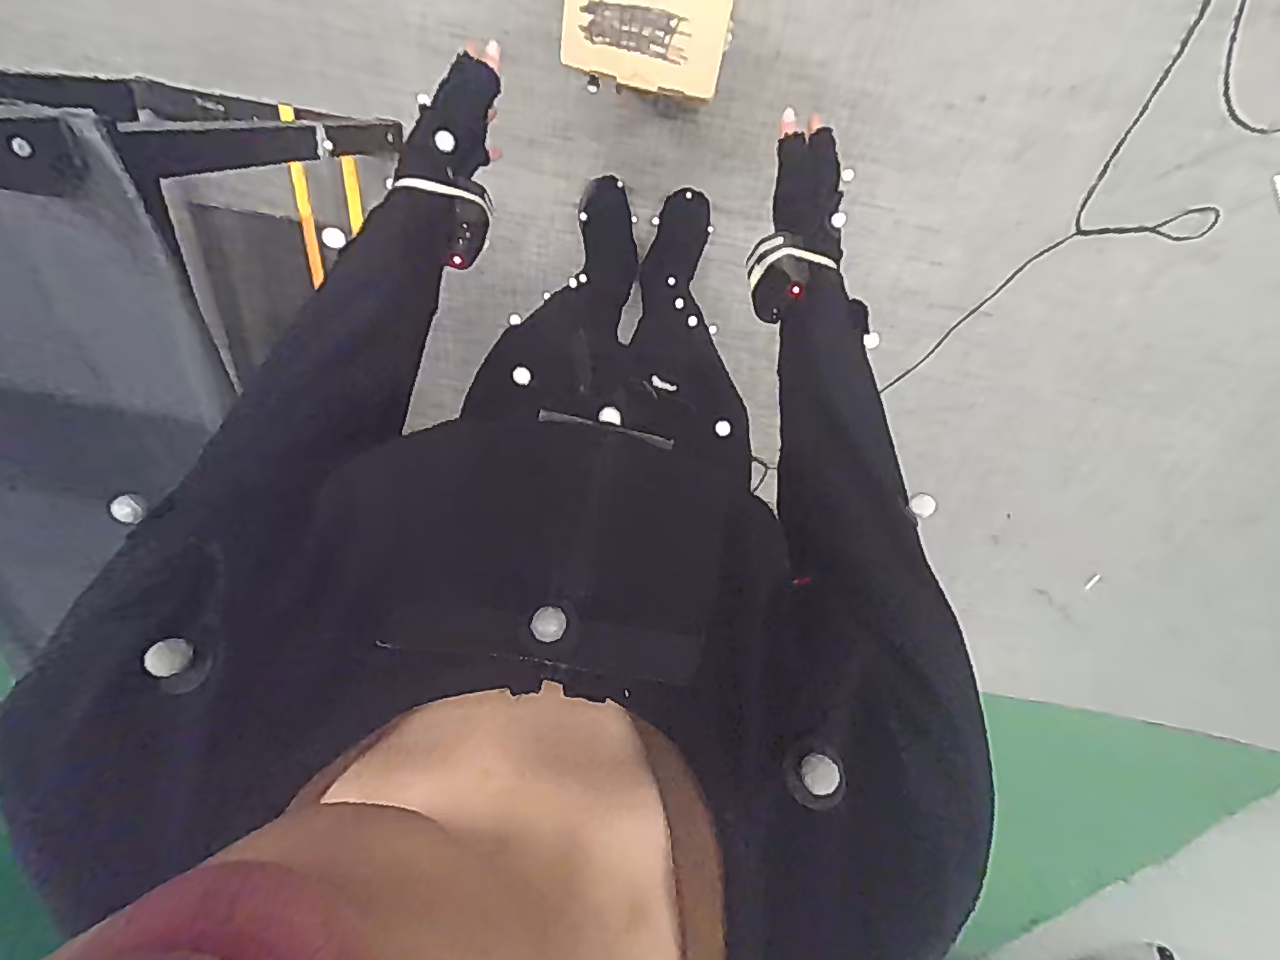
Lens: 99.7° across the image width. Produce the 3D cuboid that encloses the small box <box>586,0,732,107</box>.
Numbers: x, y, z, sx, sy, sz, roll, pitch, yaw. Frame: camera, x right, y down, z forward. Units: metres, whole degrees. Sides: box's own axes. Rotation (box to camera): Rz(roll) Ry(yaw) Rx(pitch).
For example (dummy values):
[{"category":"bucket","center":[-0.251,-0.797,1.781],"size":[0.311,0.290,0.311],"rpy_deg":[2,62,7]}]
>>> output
[{"category":"small box","center":[0.033,-0.624,0.728],"size":[0.168,0.176,0.179],"rpy_deg":[13,124,-3]}]
